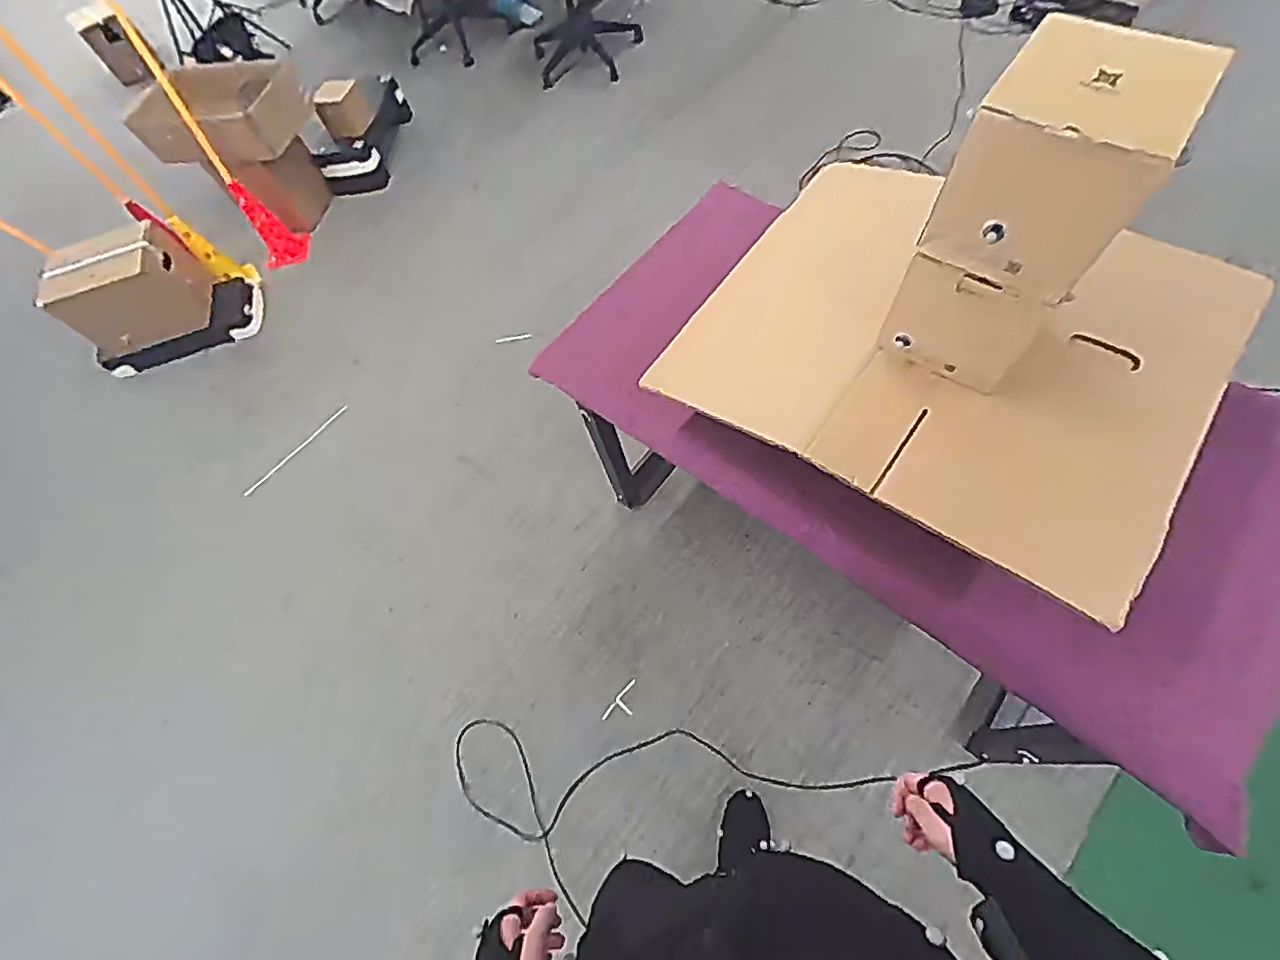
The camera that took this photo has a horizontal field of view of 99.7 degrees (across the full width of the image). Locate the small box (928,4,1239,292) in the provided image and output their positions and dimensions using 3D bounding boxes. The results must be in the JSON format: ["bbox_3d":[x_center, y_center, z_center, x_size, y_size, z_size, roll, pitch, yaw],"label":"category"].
[{"bbox_3d":[0.436,-0.335,0.564,0.168,0.176,0.179,32,74,19],"label":"small box"}]

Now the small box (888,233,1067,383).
[{"bbox_3d":[0.451,-0.260,0.707,0.168,0.176,0.179,33,72,19],"label":"small box"}]
